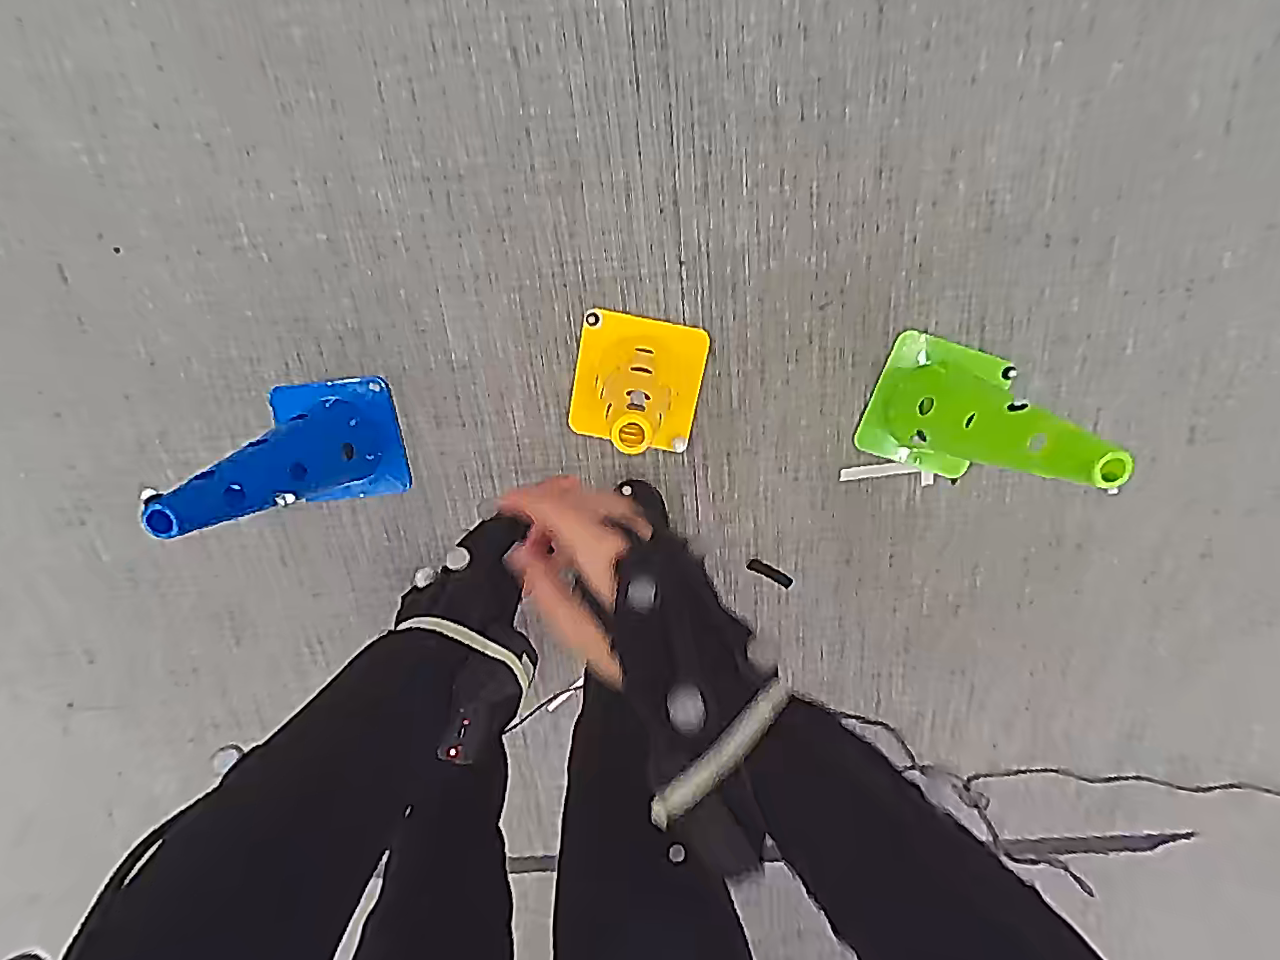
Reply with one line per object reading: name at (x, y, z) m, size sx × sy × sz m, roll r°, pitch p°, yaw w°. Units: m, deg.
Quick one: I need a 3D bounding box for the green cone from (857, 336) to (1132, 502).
green cone at (0.467, -0.057, 0.700) m, size 0.200 × 0.368 × 0.202 m, roll 16°, pitch 108°, yaw -4°
